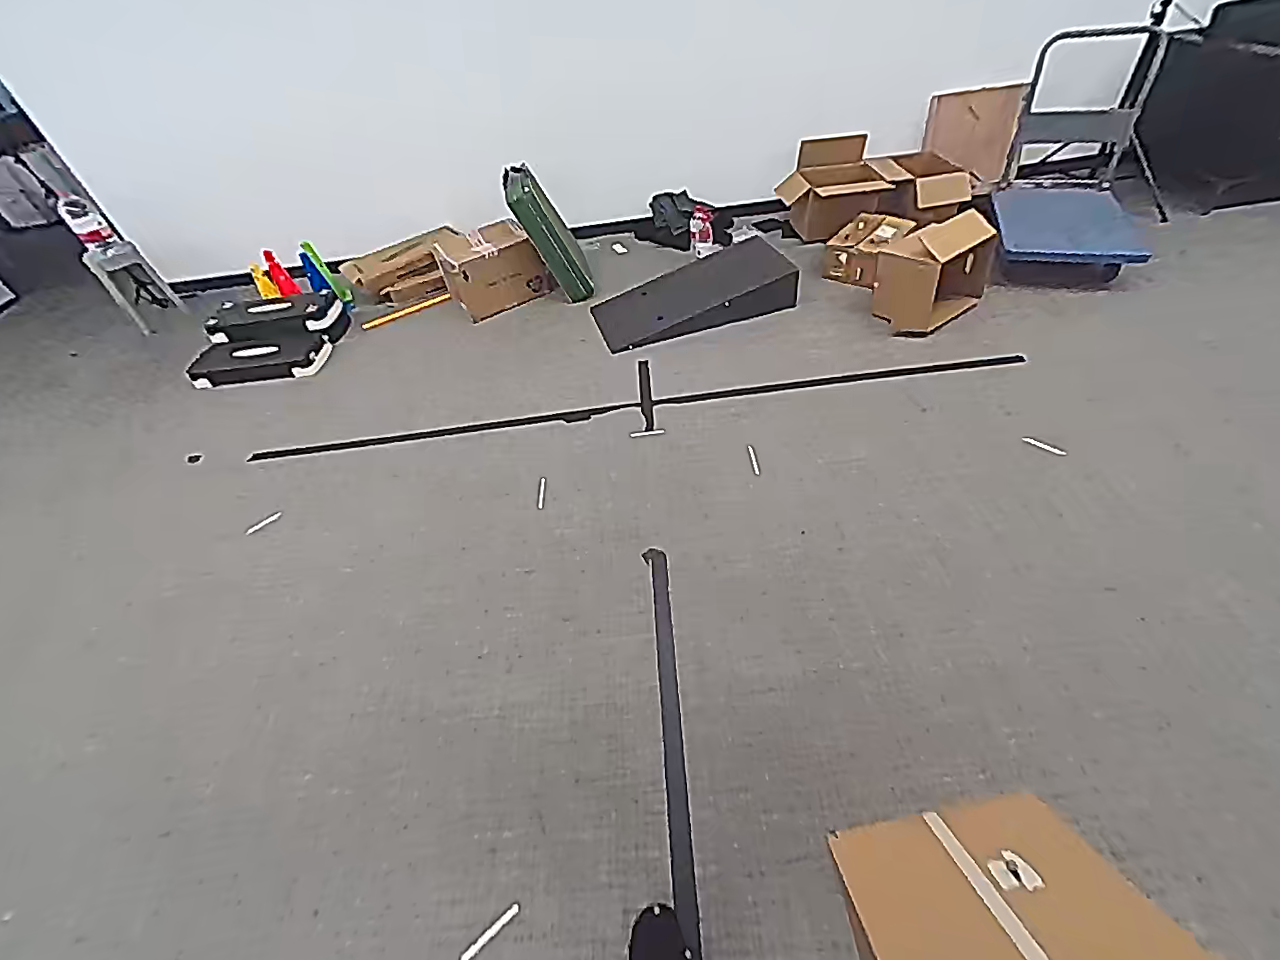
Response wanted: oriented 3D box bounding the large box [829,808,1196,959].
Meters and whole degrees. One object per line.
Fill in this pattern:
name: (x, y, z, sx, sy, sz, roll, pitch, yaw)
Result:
large box: (0.465, 0.676, 0.624, 0.320, 0.408, 0.320, -13, 89, 3)
